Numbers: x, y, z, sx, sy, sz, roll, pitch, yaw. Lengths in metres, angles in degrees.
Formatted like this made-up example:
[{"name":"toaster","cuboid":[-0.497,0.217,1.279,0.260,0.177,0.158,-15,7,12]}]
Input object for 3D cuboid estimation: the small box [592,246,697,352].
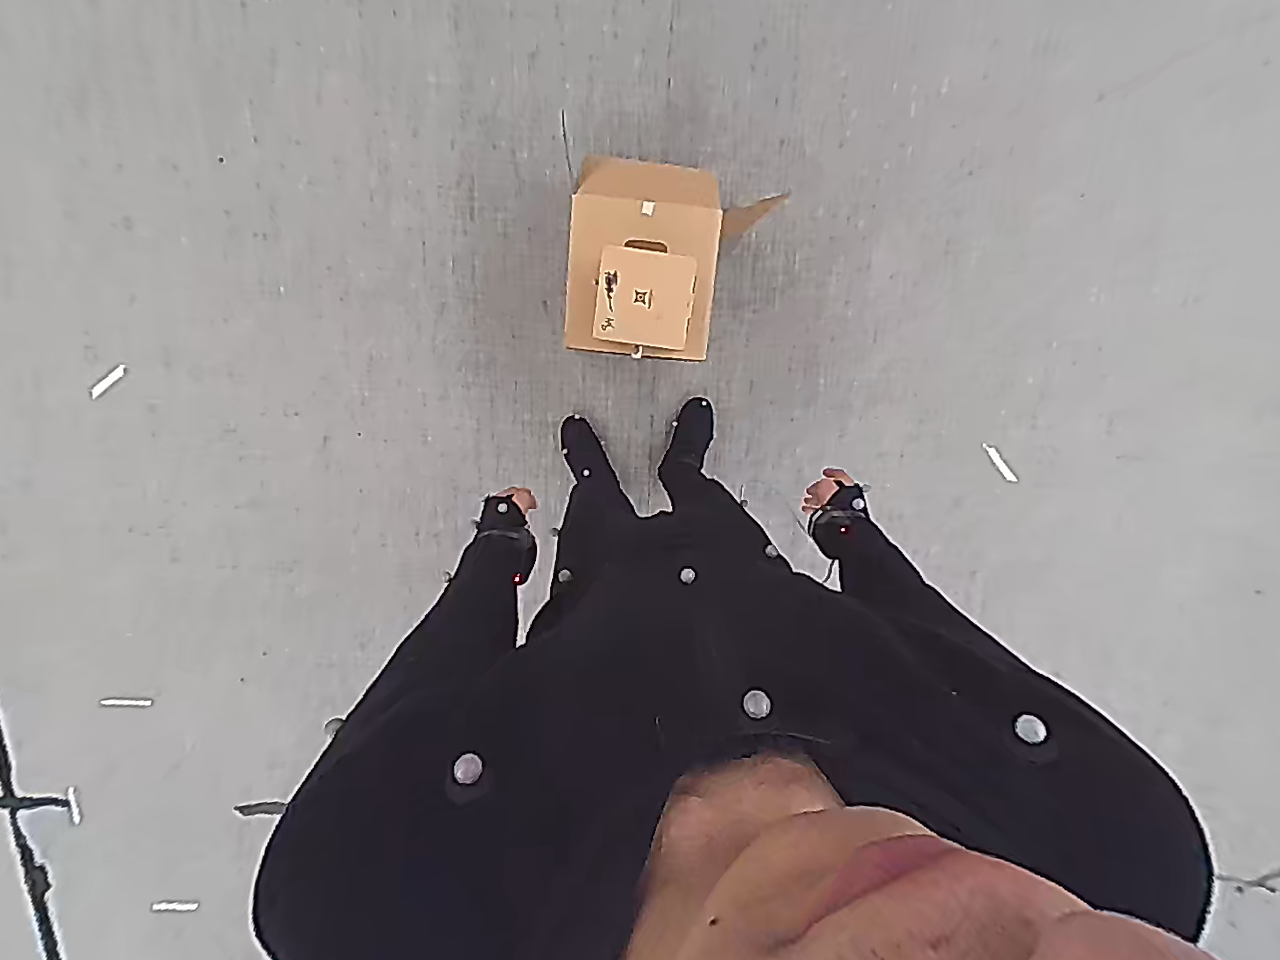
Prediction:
[{"name":"small box","cuboid":[0.002,-0.353,1.074,0.179,0.176,0.168,7,103,-5]}]
